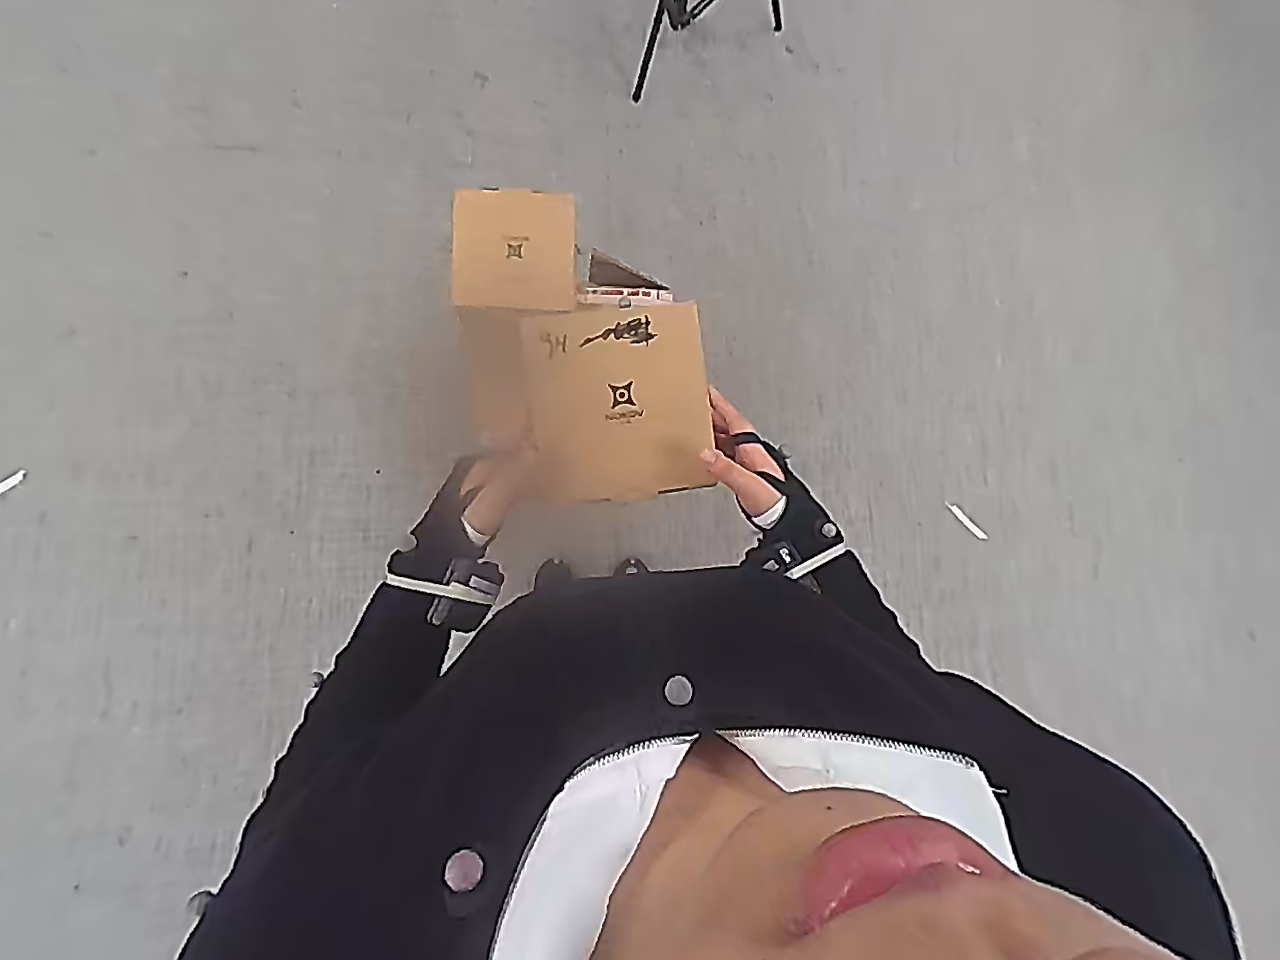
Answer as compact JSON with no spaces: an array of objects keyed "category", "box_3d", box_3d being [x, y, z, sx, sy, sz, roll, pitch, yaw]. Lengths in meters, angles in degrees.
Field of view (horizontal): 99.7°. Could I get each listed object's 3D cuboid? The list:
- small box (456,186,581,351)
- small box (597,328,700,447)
[{"category":"small box","box_3d":[-0.176,-0.311,0.824,0.168,0.176,0.179,0,84,-5]},{"category":"small box","box_3d":[0.009,-0.163,0.996,0.168,0.176,0.179,0,84,-8]}]
